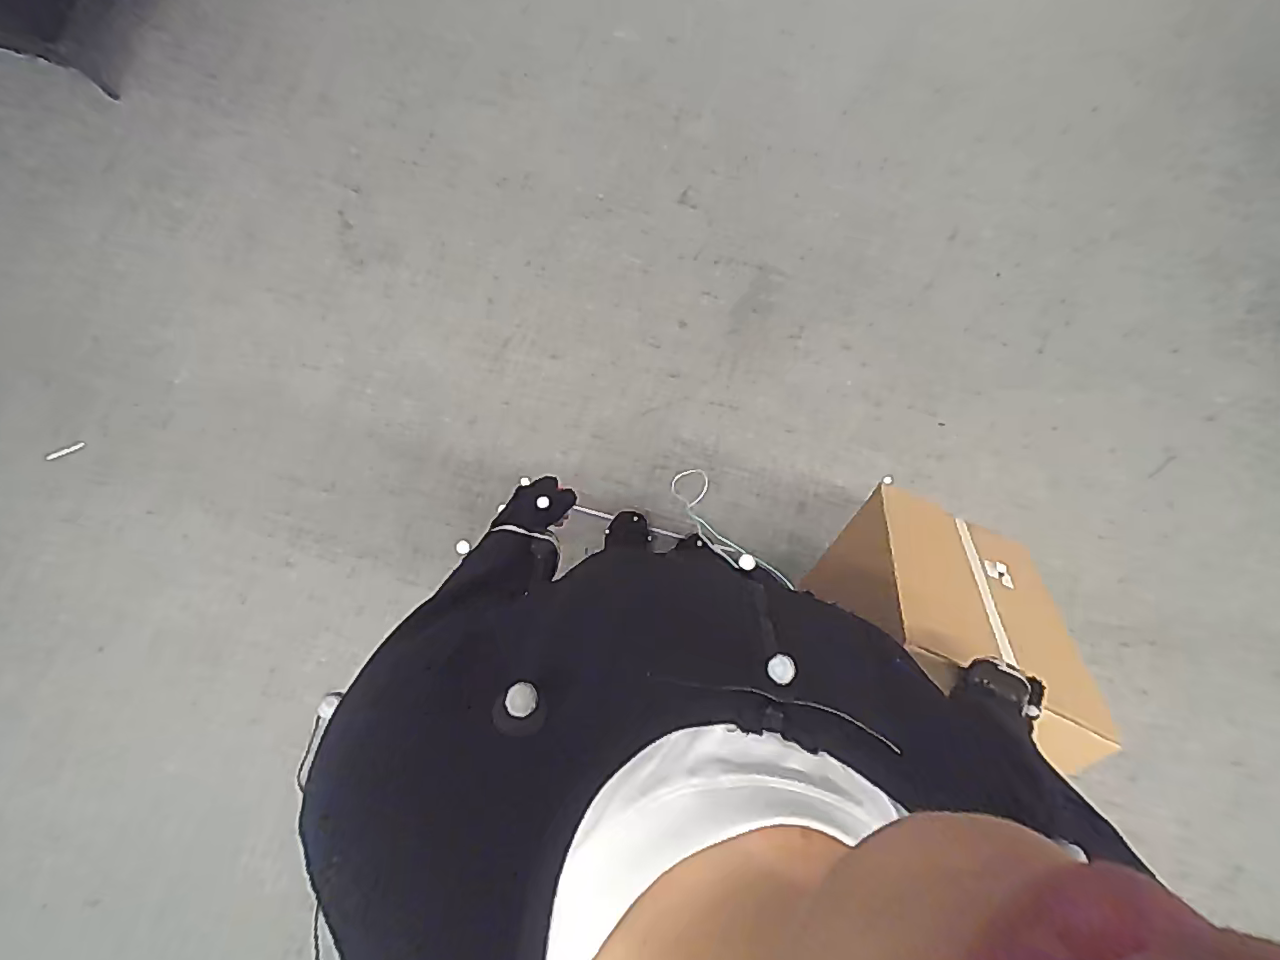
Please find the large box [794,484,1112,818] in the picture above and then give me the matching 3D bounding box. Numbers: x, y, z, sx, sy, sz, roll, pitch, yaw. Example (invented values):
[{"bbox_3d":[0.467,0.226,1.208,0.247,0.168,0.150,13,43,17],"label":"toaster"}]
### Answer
[{"bbox_3d":[0.488,0.284,0.959,0.320,0.408,0.320,27,126,1],"label":"large box"}]
